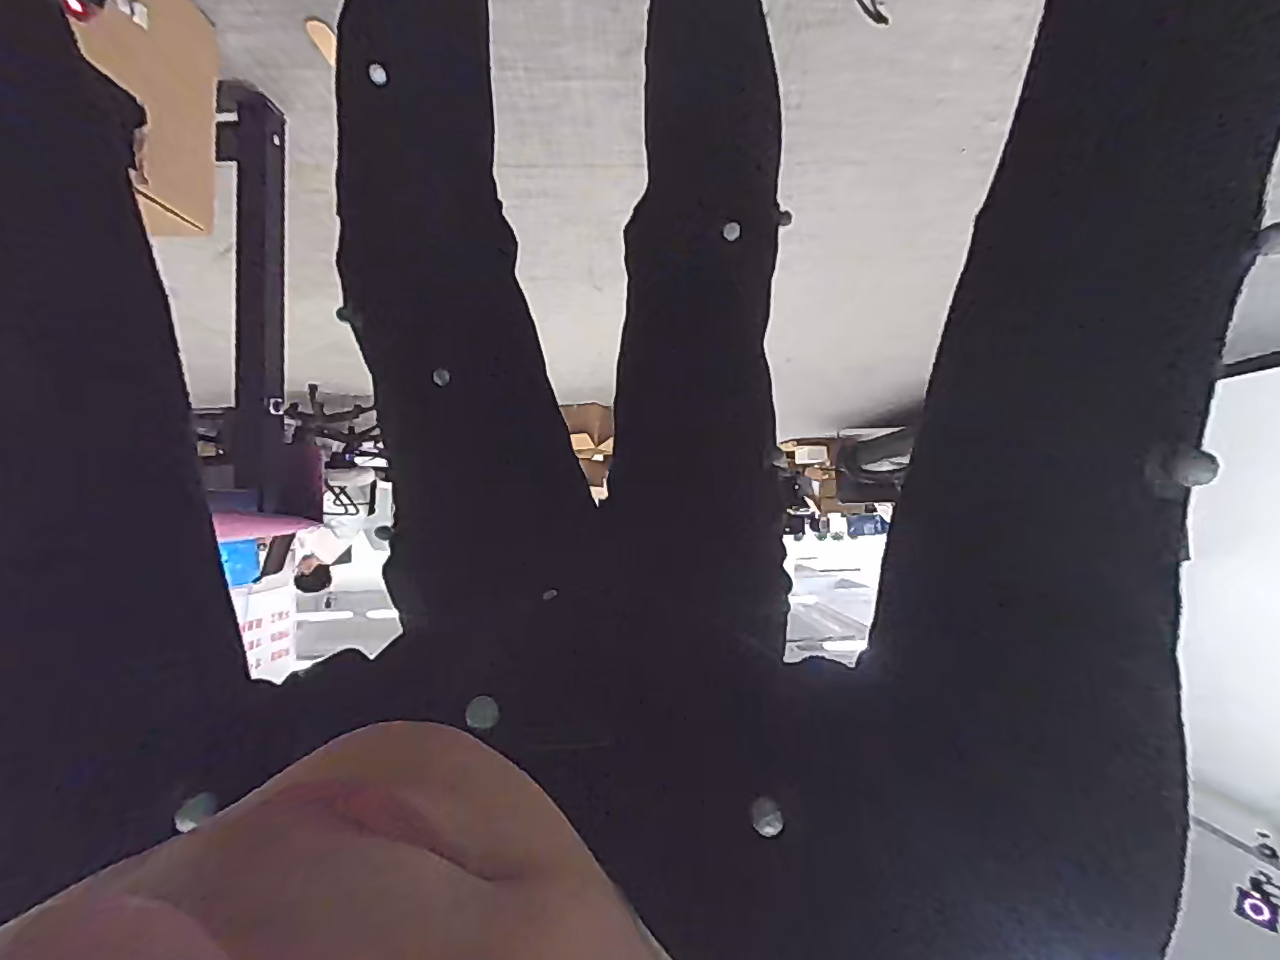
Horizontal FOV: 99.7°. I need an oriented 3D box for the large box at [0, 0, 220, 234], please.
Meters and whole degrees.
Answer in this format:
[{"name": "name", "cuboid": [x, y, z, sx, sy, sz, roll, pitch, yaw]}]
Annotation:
[{"name": "large box", "cuboid": [-0.797, -0.508, 0.622, 0.408, 0.320, 0.320, 0, 176, 1]}]
